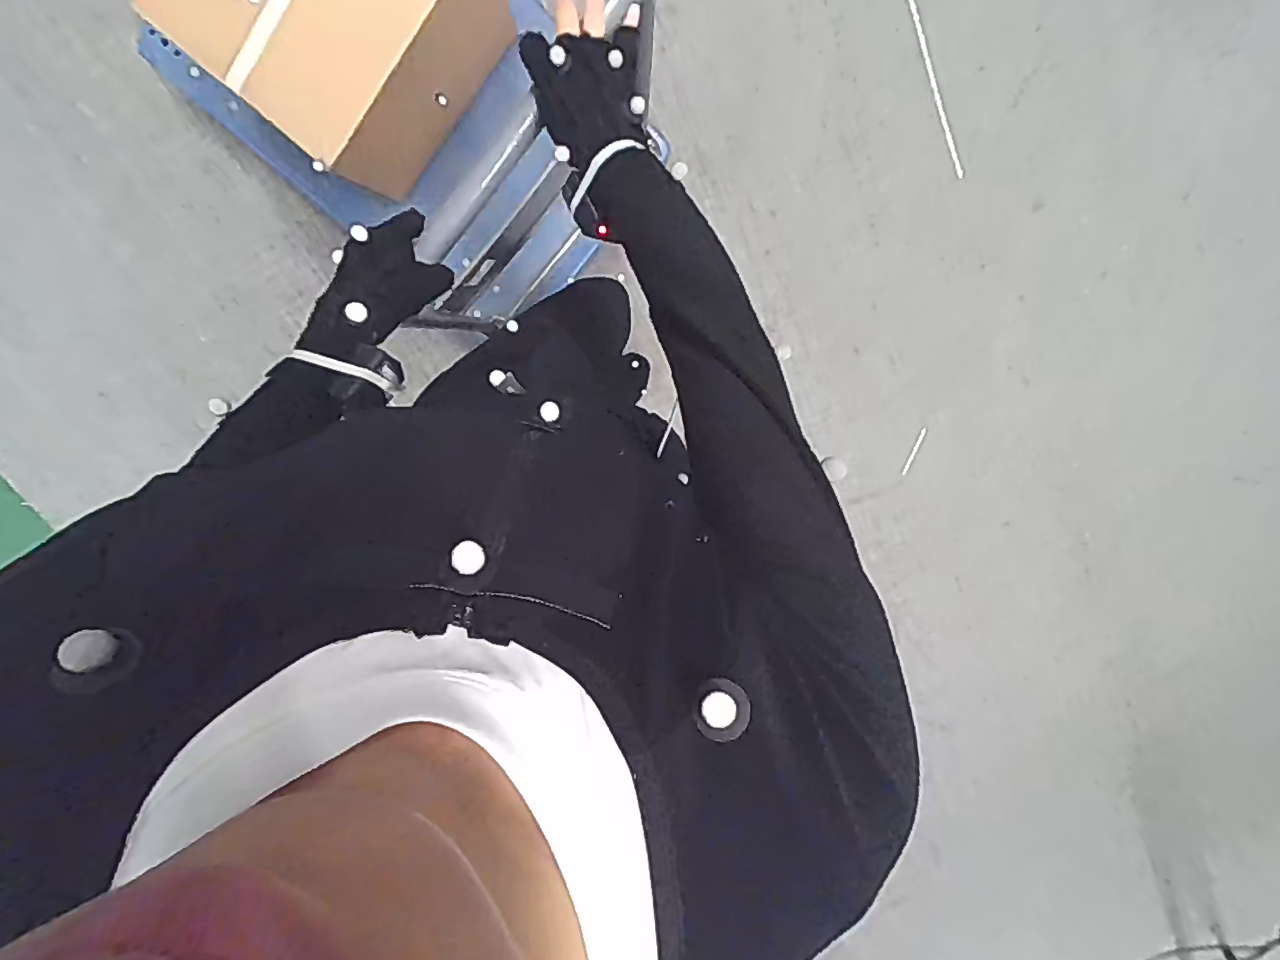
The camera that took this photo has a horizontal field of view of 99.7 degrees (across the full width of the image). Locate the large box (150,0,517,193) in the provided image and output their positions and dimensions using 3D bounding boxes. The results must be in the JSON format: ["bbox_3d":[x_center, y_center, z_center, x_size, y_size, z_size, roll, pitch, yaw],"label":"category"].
[{"bbox_3d":[-0.459,-0.772,0.896,0.320,0.320,0.408,38,103,-14],"label":"large box"}]
